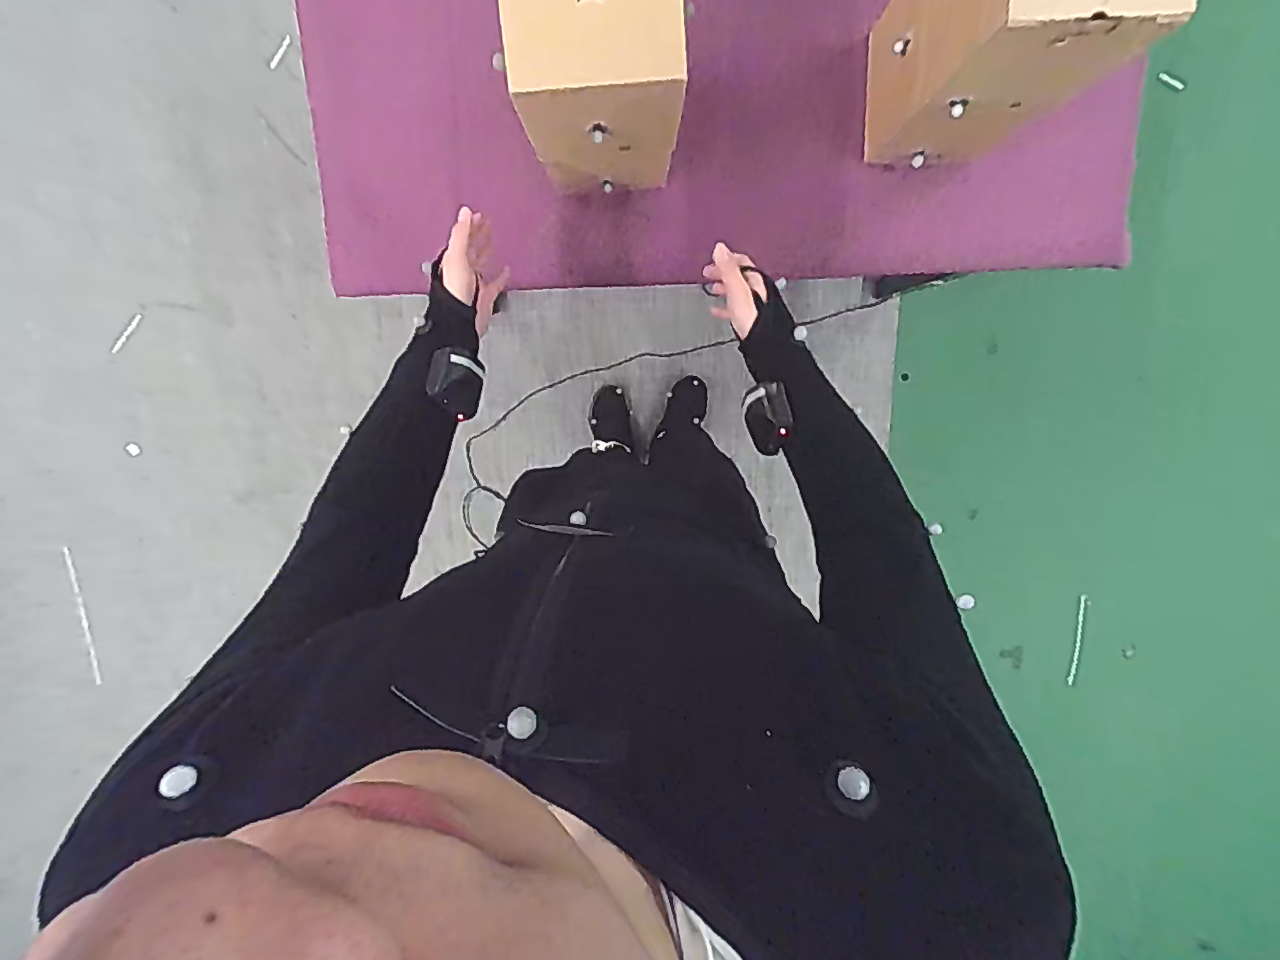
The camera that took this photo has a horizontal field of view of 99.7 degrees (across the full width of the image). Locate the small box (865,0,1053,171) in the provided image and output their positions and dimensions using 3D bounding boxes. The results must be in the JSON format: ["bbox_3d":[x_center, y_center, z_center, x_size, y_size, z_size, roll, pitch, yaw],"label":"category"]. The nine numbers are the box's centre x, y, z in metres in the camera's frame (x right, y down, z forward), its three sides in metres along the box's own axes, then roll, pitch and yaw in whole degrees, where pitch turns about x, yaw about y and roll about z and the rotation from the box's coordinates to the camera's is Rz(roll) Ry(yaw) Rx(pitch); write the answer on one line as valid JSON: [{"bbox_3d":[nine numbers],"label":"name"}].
[{"bbox_3d":[0.410,-0.532,0.706,0.168,0.176,0.179,0,100,1],"label":"small box"}]

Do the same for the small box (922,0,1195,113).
[{"bbox_3d":[0.408,-0.500,0.545,0.168,0.176,0.179,0,98,1],"label":"small box"}]

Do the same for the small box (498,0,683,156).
[{"bbox_3d":[-0.045,-0.452,0.552,0.168,0.176,0.179,-4,101,0],"label":"small box"}]

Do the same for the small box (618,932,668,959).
[{"bbox_3d":[0.016,1.707,1.852,0.168,0.176,0.179,-8,101,2],"label":"small box"}]
